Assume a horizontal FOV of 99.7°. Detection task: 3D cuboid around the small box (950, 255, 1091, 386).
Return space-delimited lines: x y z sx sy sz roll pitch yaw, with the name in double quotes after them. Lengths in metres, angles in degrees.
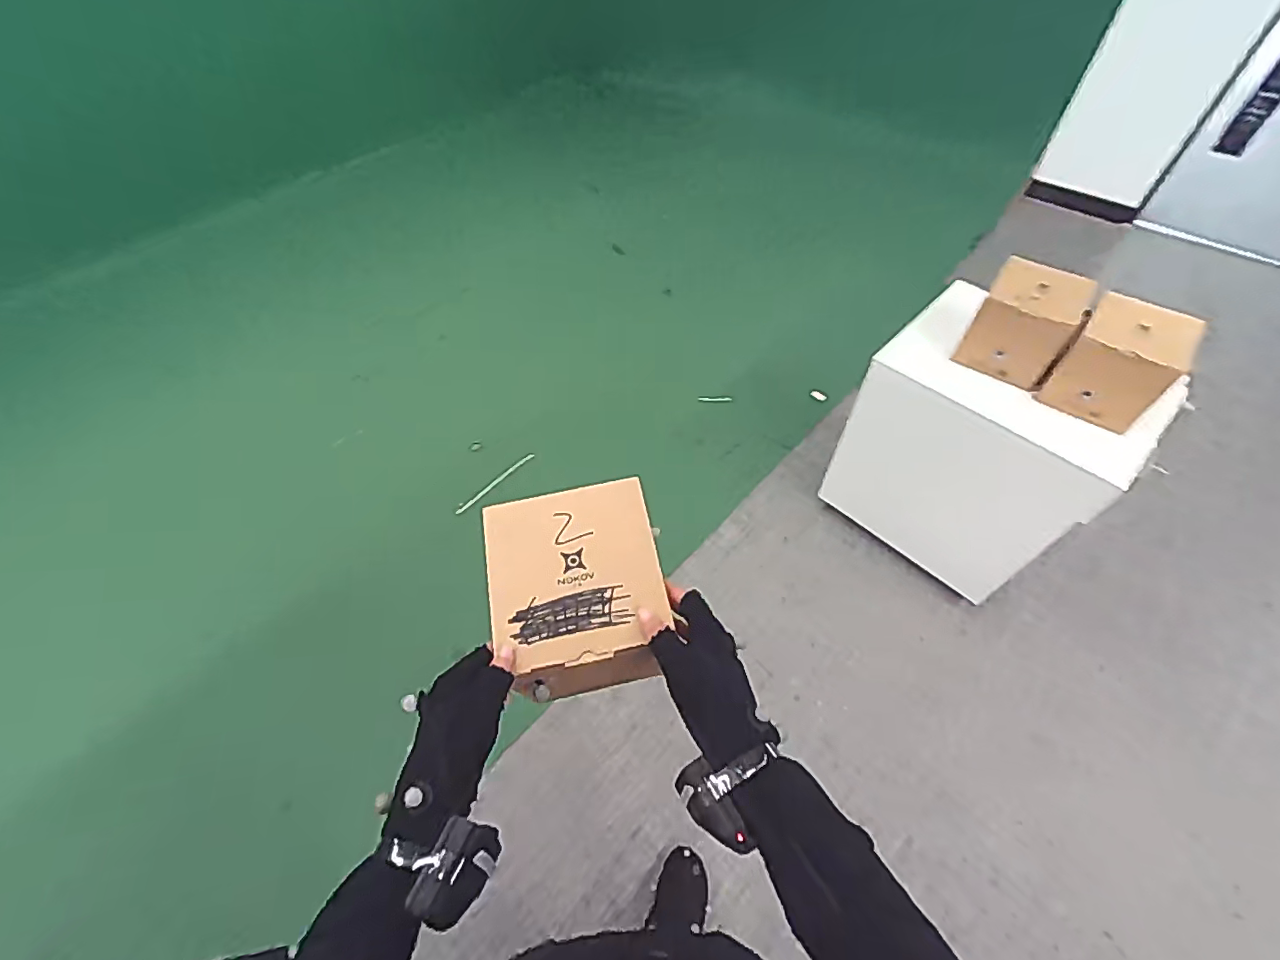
0.787 -0.331 1.132 0.168 0.176 0.179 31 61 23 "small box"
